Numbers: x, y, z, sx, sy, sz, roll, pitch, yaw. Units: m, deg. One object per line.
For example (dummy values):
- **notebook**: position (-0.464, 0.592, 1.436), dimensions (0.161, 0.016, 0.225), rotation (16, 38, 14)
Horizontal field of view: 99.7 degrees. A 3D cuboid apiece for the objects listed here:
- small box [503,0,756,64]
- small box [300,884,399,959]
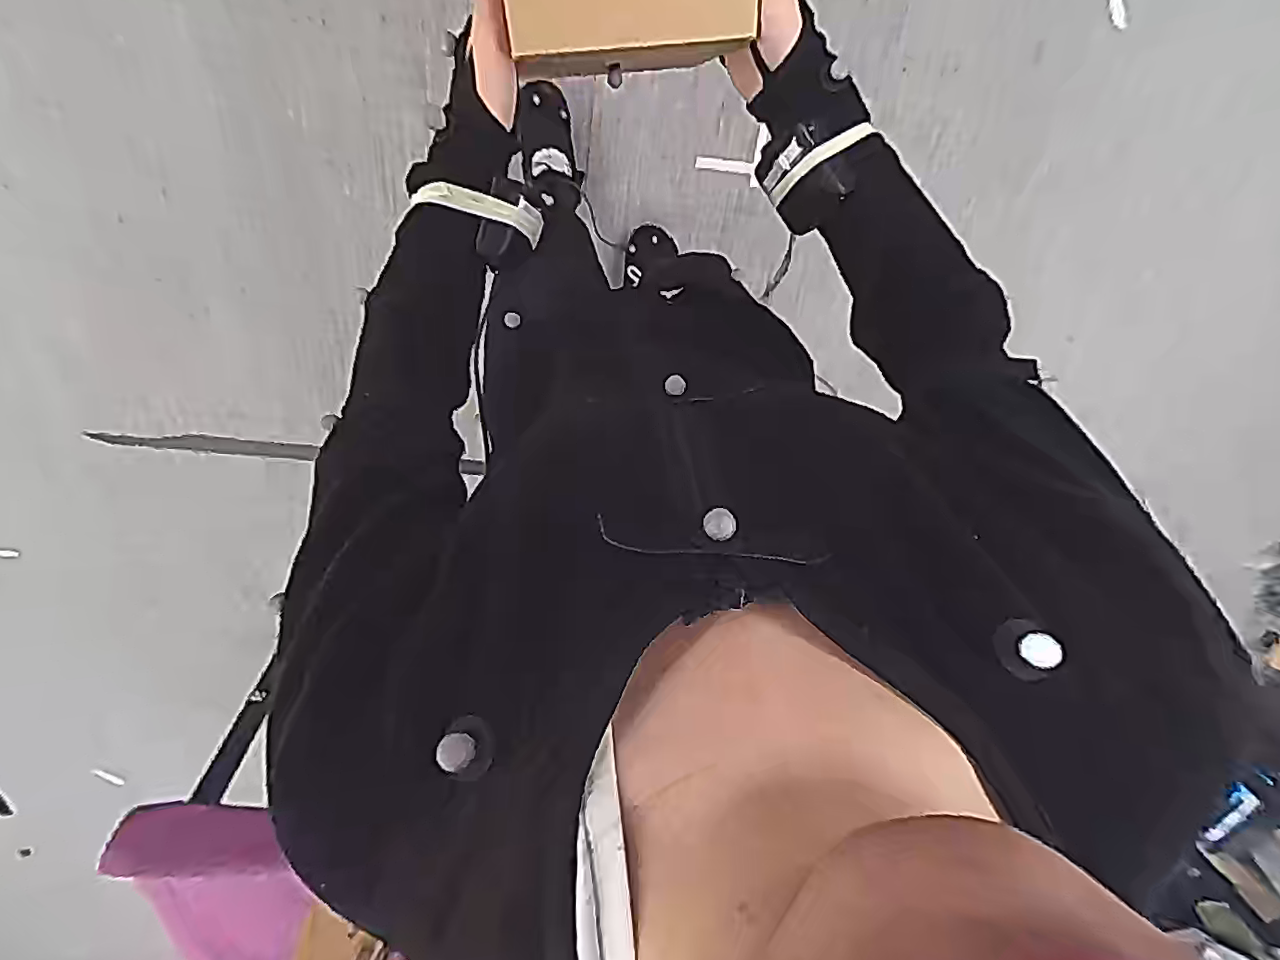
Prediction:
- **small box**: position (-0.020, -0.404, 0.374), dimensions (0.168, 0.176, 0.179), rotation (-9, 123, -6)
- **small box**: position (-0.666, 1.062, 1.247), dimensions (0.168, 0.176, 0.179), rotation (4, 121, -10)
